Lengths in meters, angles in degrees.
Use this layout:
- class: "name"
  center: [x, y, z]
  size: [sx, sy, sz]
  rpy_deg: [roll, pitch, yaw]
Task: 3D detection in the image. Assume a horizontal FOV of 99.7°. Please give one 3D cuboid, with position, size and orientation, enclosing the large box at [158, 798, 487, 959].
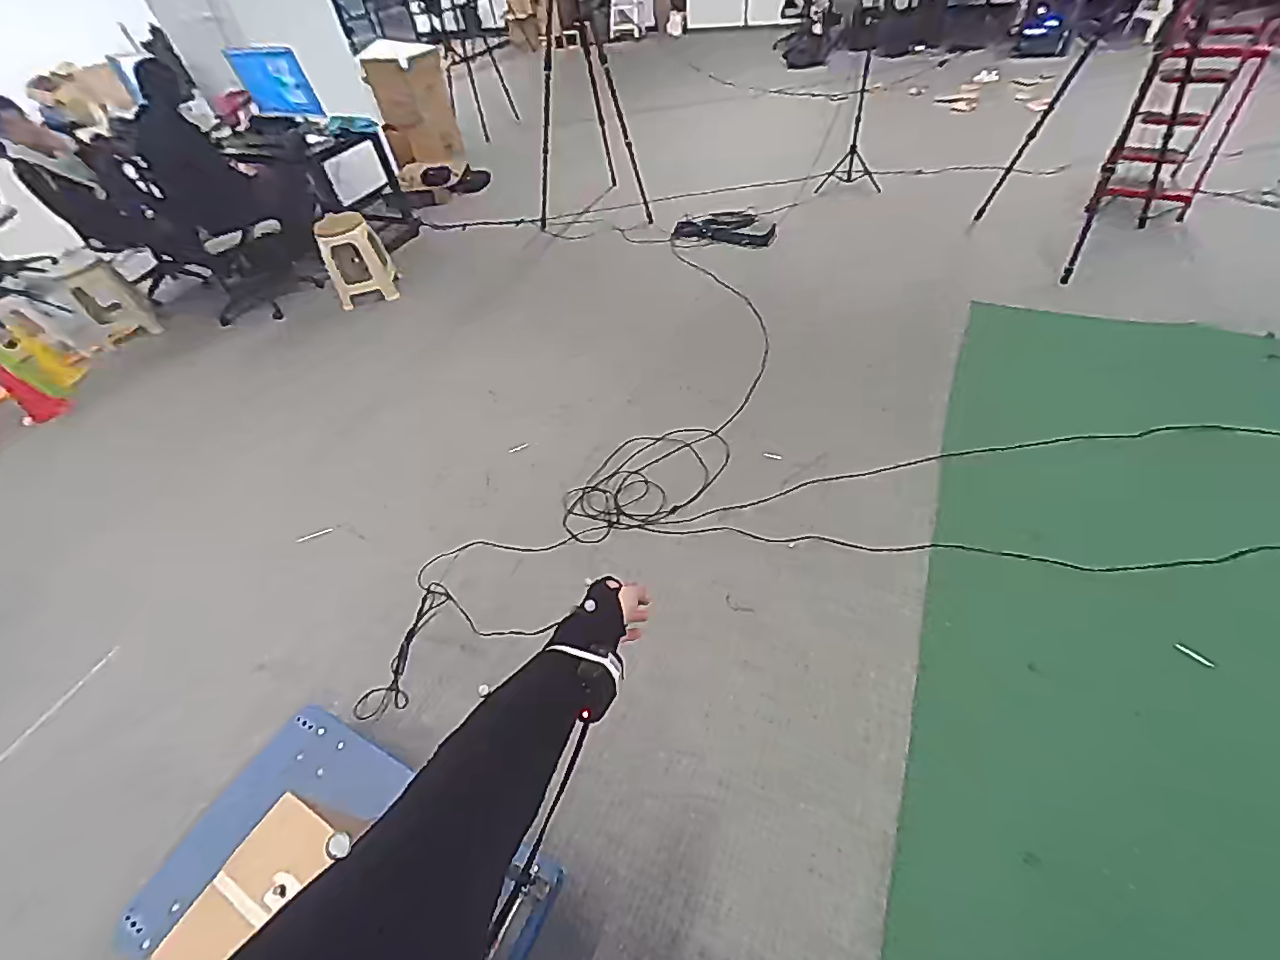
- class: "large box"
  center: [-0.578, 0.894, 1.032]
  size: [0.408, 0.320, 0.320]
  rpy_deg: [18, 52, 24]
